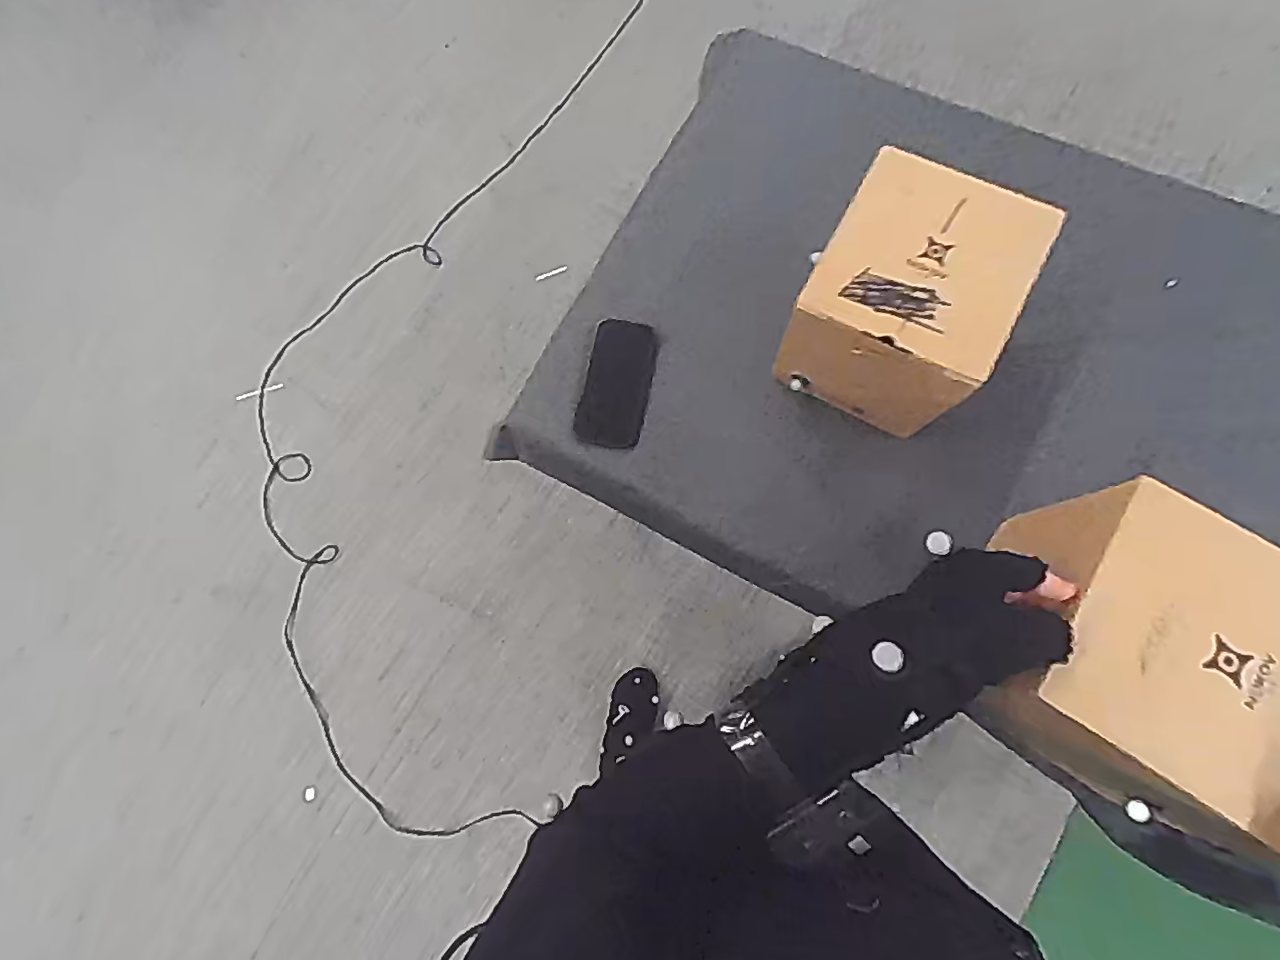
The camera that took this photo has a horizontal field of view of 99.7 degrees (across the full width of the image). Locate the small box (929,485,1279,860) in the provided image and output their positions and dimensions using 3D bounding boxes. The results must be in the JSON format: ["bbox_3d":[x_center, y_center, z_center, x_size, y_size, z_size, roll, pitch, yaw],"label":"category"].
[{"bbox_3d":[0.364,0.132,0.405,0.179,0.176,0.168,32,78,12],"label":"small box"}]

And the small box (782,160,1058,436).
[{"bbox_3d":[0.259,-0.167,0.548,0.168,0.176,0.179,28,82,10],"label":"small box"}]
